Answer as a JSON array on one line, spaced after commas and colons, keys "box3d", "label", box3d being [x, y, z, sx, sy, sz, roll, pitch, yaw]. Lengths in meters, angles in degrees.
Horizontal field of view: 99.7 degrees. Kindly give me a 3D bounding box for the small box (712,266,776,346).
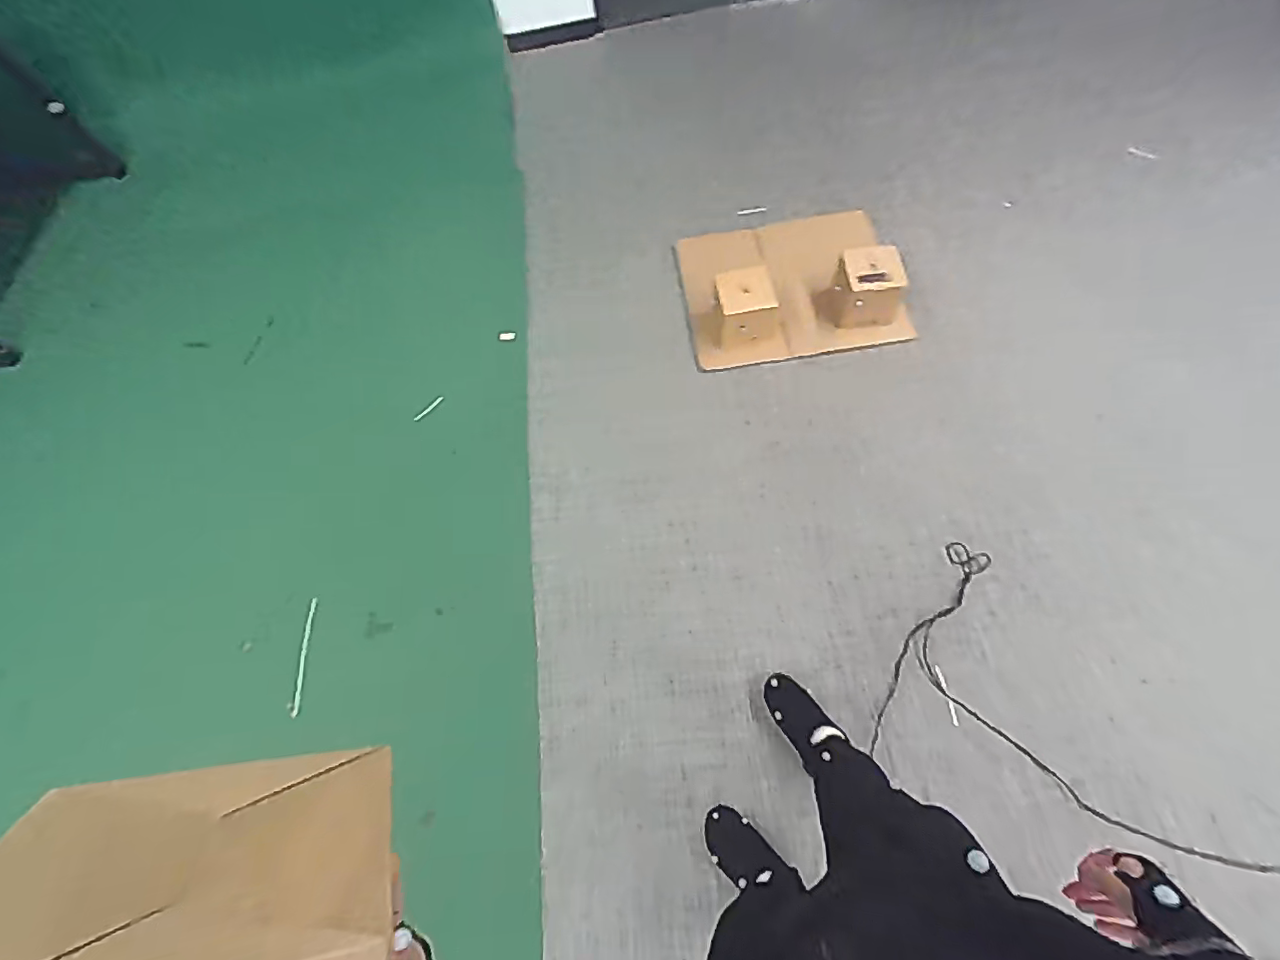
[{"box3d": [0.330, -0.548, 1.736, 0.168, 0.176, 0.179, -10, 63, 2], "label": "small box"}]
